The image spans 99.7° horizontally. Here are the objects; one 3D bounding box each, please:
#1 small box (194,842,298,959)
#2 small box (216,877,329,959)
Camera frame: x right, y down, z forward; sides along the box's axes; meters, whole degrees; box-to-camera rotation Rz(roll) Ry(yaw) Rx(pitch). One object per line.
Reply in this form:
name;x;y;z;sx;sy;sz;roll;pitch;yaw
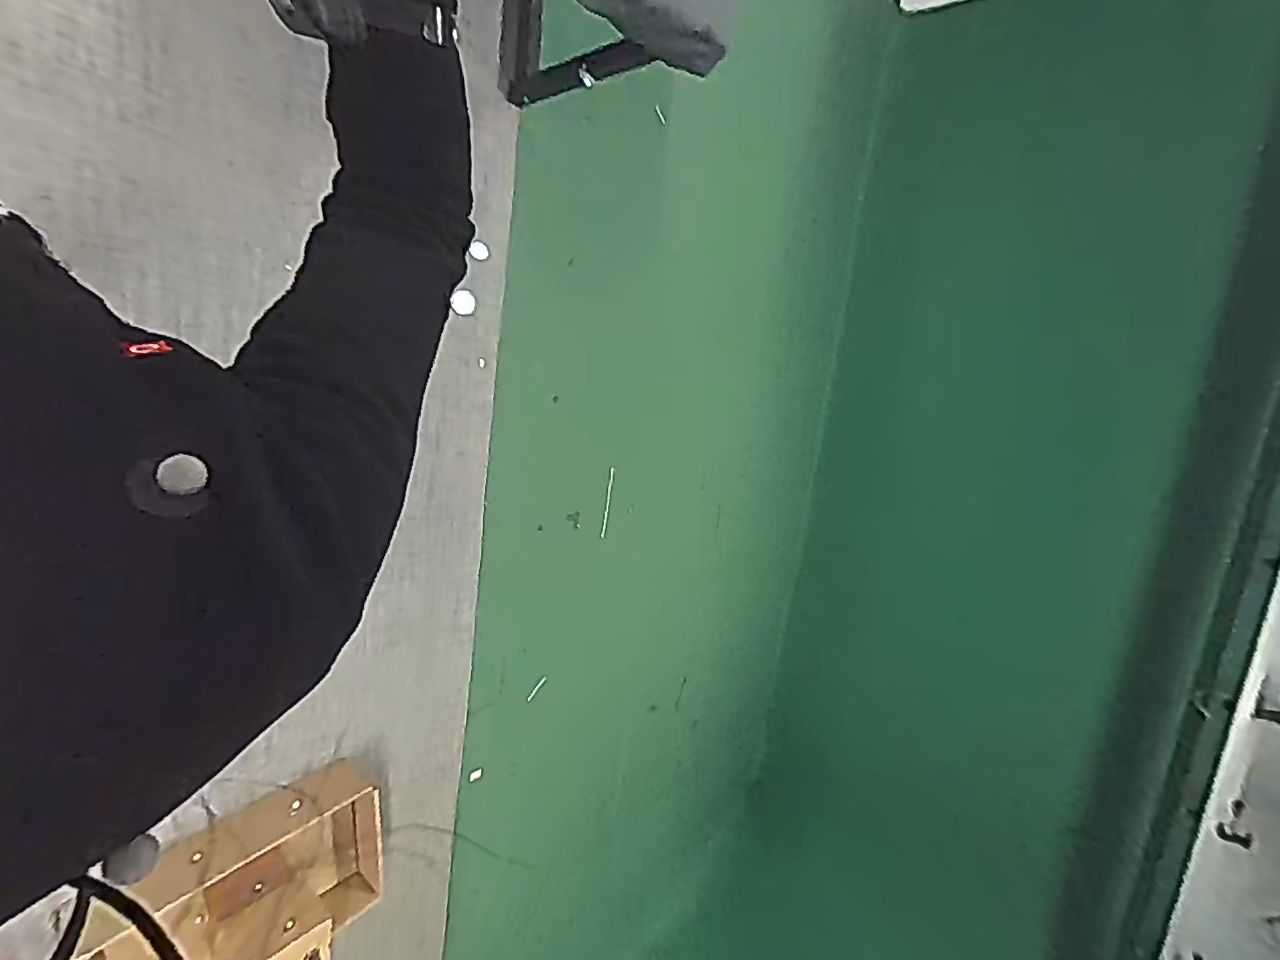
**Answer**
small box;-0.985;1.070;1.361;0.179;0.176;0.168;-11;109;-50
small box;-0.855;1.088;1.261;0.179;0.176;0.168;-7;106;-51
